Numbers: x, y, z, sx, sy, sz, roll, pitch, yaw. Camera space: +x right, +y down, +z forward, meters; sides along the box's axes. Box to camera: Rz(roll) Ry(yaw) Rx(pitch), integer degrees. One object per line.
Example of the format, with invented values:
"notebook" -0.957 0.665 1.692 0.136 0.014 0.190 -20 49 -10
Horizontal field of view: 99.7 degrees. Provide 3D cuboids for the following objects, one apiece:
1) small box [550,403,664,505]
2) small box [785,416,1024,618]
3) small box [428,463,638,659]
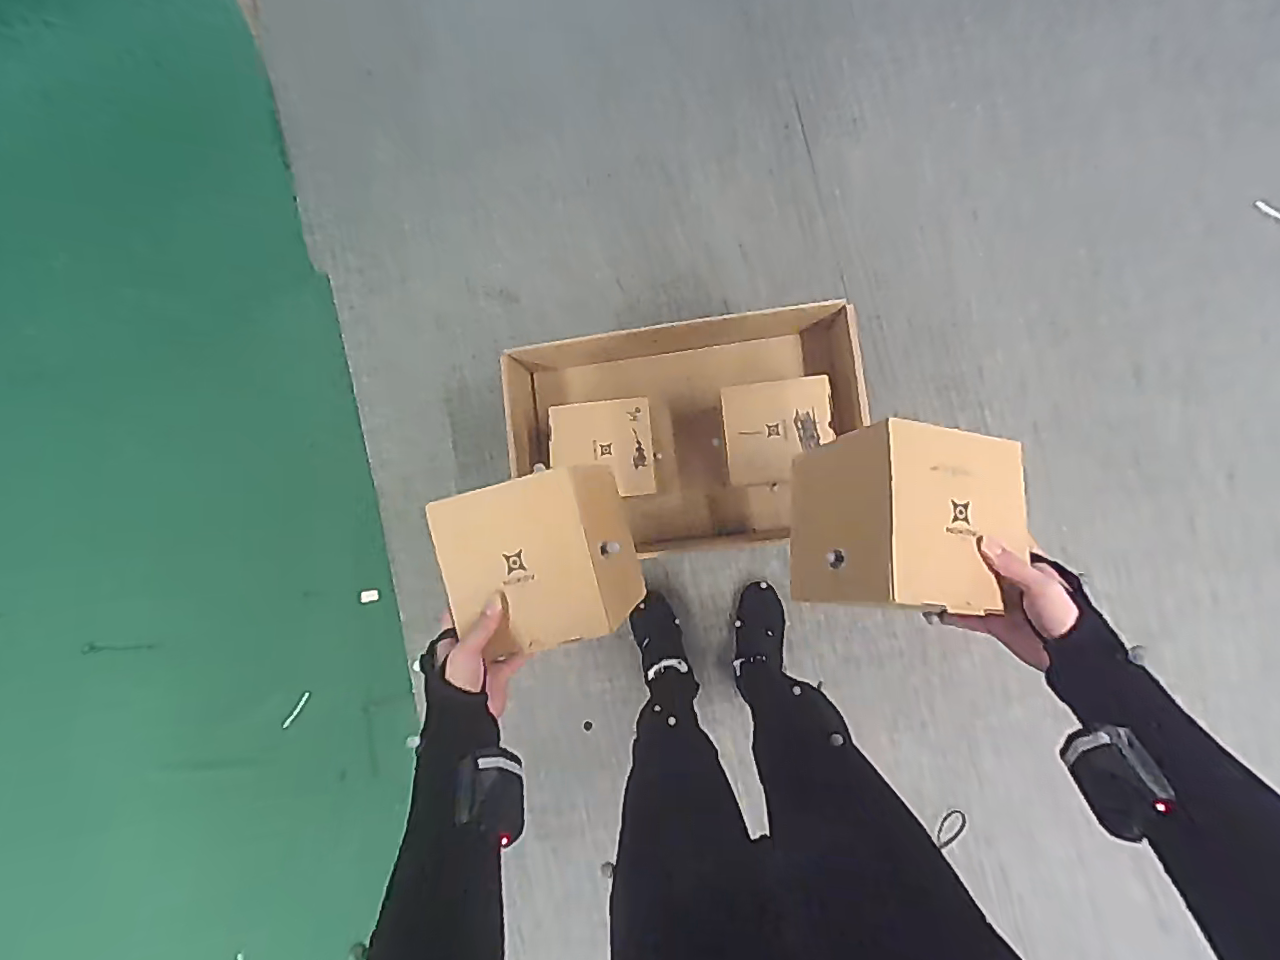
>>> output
"small box" -0.055 -0.037 0.990 0.179 0.176 0.168 -4 86 8
"small box" 0.272 0.051 0.589 0.168 0.176 0.179 10 75 -15
"small box" -0.113 0.084 0.633 0.168 0.176 0.179 -15 89 12
